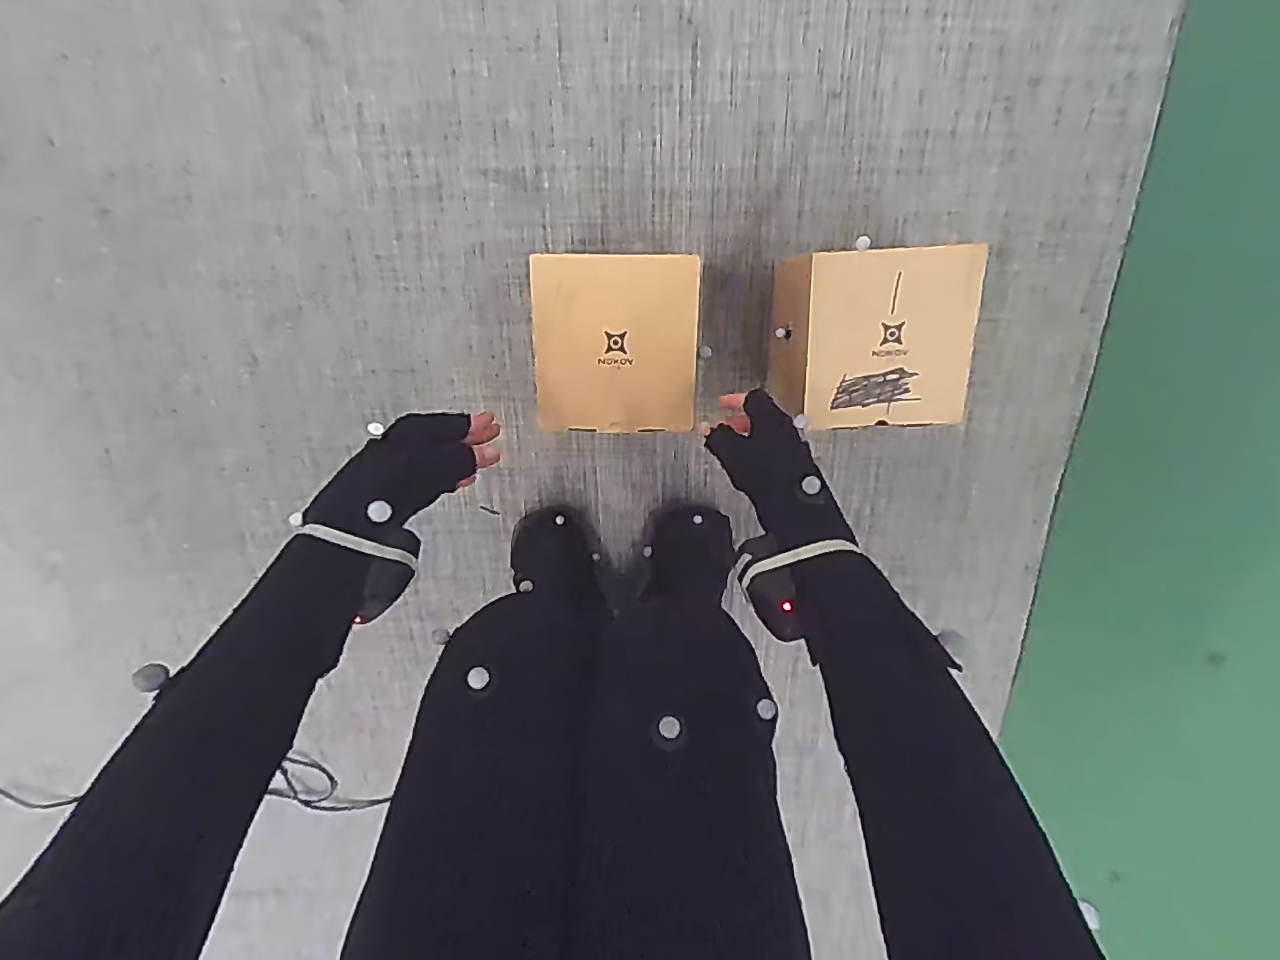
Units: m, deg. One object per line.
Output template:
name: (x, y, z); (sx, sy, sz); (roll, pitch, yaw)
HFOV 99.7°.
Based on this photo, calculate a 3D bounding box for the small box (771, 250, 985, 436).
small box: (0.247, -0.157, 0.609); (0.168, 0.176, 0.179); (-3, 109, 3)

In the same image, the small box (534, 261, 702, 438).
small box: (-0.021, -0.154, 0.621); (0.168, 0.176, 0.179); (0, 110, 2)
